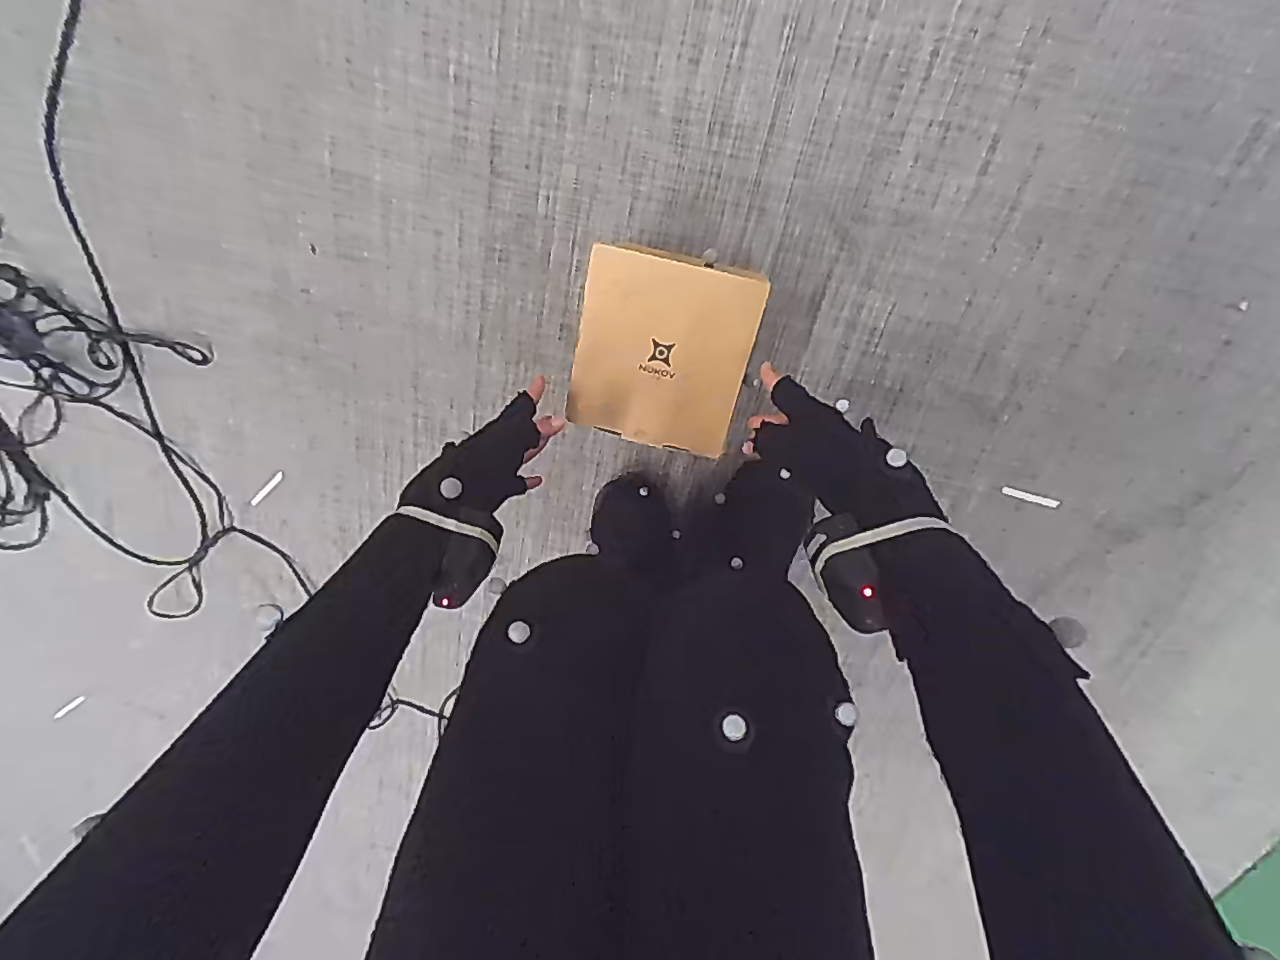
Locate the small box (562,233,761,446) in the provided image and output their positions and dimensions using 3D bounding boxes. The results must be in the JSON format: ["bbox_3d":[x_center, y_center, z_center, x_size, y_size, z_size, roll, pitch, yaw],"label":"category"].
[{"bbox_3d":[0.026,-0.162,0.597,0.168,0.176,0.179,14,116,4],"label":"small box"}]
